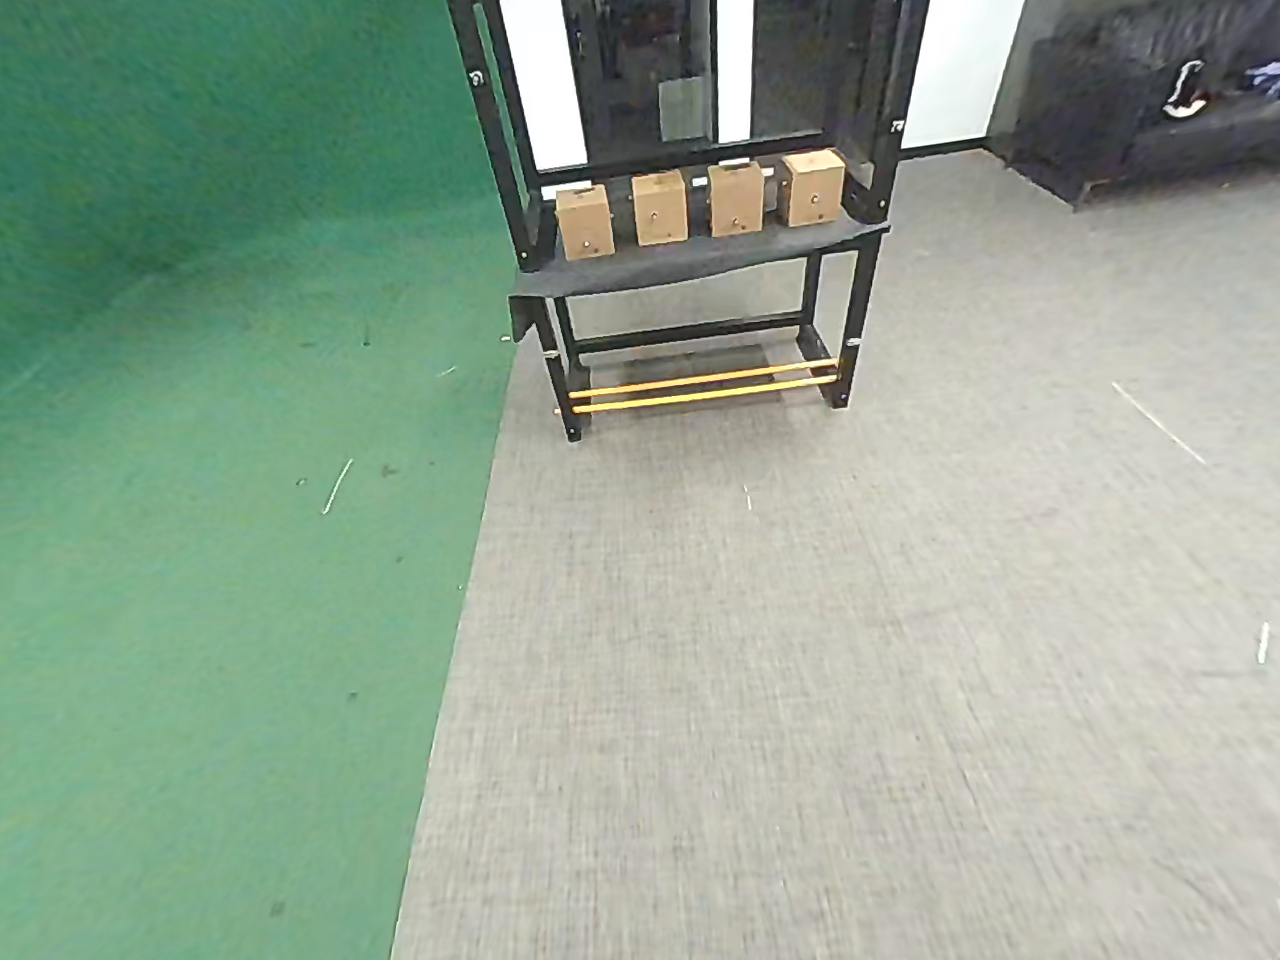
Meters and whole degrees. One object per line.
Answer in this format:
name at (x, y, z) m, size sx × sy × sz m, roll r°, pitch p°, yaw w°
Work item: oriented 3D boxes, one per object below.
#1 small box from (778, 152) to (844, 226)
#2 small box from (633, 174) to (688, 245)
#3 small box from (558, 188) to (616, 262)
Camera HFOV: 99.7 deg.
small box at (0.559, -0.957, 1.790) m, size 0.168 × 0.176 × 0.179 m, roll -7°, pitch 45°, yaw 2°
small box at (0.070, -0.907, 1.826) m, size 0.168 × 0.176 × 0.179 m, roll -6°, pitch 45°, yaw 3°
small box at (-0.177, -0.853, 1.810) m, size 0.168 × 0.176 × 0.179 m, roll -10°, pitch 46°, yaw 0°
